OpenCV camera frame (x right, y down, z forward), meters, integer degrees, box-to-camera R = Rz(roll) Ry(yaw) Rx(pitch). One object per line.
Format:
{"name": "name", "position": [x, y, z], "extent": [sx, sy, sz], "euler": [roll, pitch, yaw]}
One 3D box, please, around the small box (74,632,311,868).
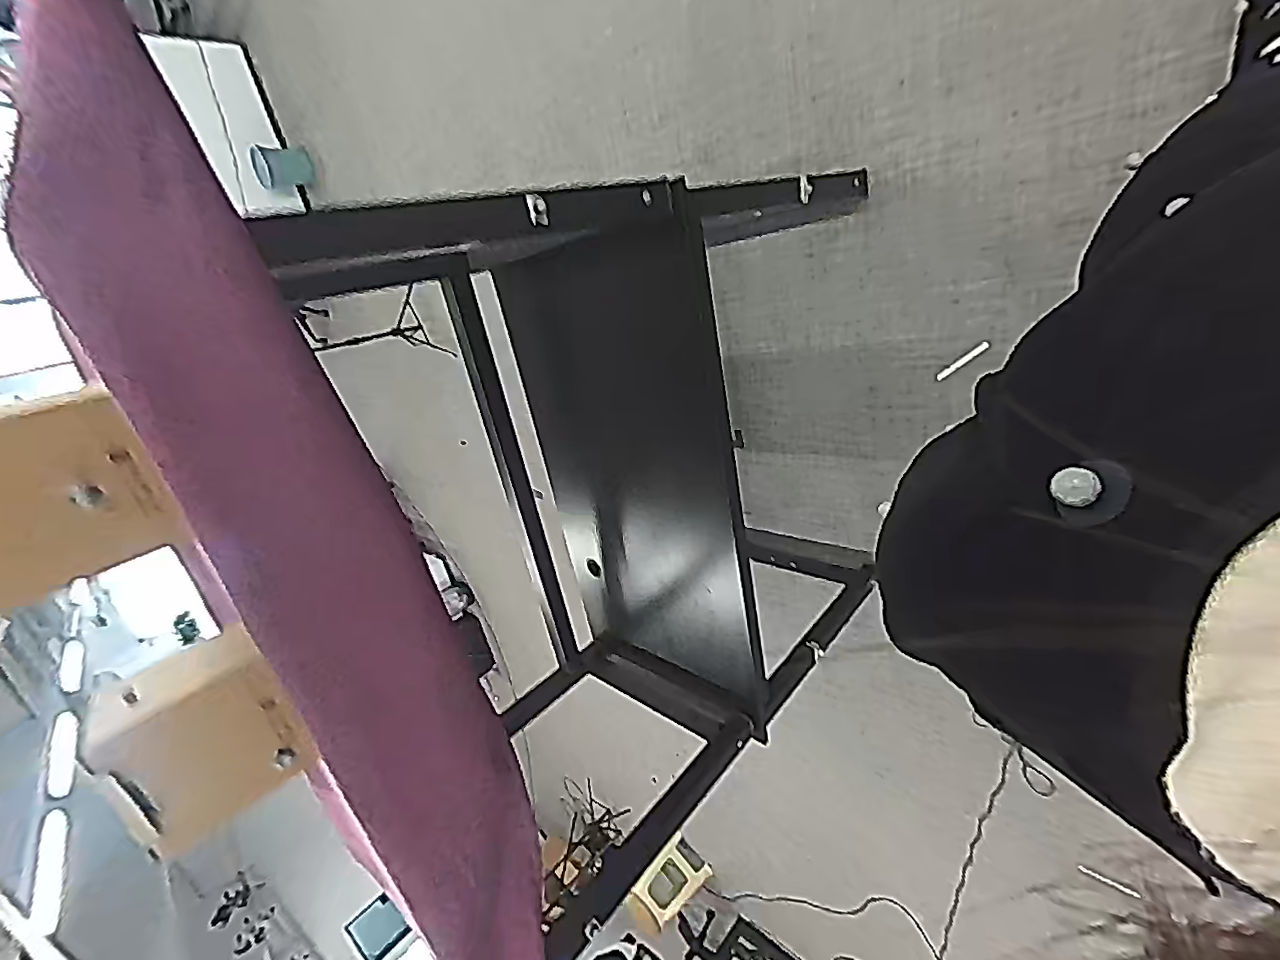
{"name": "small box", "position": [-0.544, 0.315, 0.675], "extent": [0.179, 0.176, 0.168], "euler": [4, 116, 47]}

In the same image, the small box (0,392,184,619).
{"name": "small box", "position": [-0.600, 0.016, 0.542], "extent": [0.179, 0.176, 0.168], "euler": [14, 124, 43]}
